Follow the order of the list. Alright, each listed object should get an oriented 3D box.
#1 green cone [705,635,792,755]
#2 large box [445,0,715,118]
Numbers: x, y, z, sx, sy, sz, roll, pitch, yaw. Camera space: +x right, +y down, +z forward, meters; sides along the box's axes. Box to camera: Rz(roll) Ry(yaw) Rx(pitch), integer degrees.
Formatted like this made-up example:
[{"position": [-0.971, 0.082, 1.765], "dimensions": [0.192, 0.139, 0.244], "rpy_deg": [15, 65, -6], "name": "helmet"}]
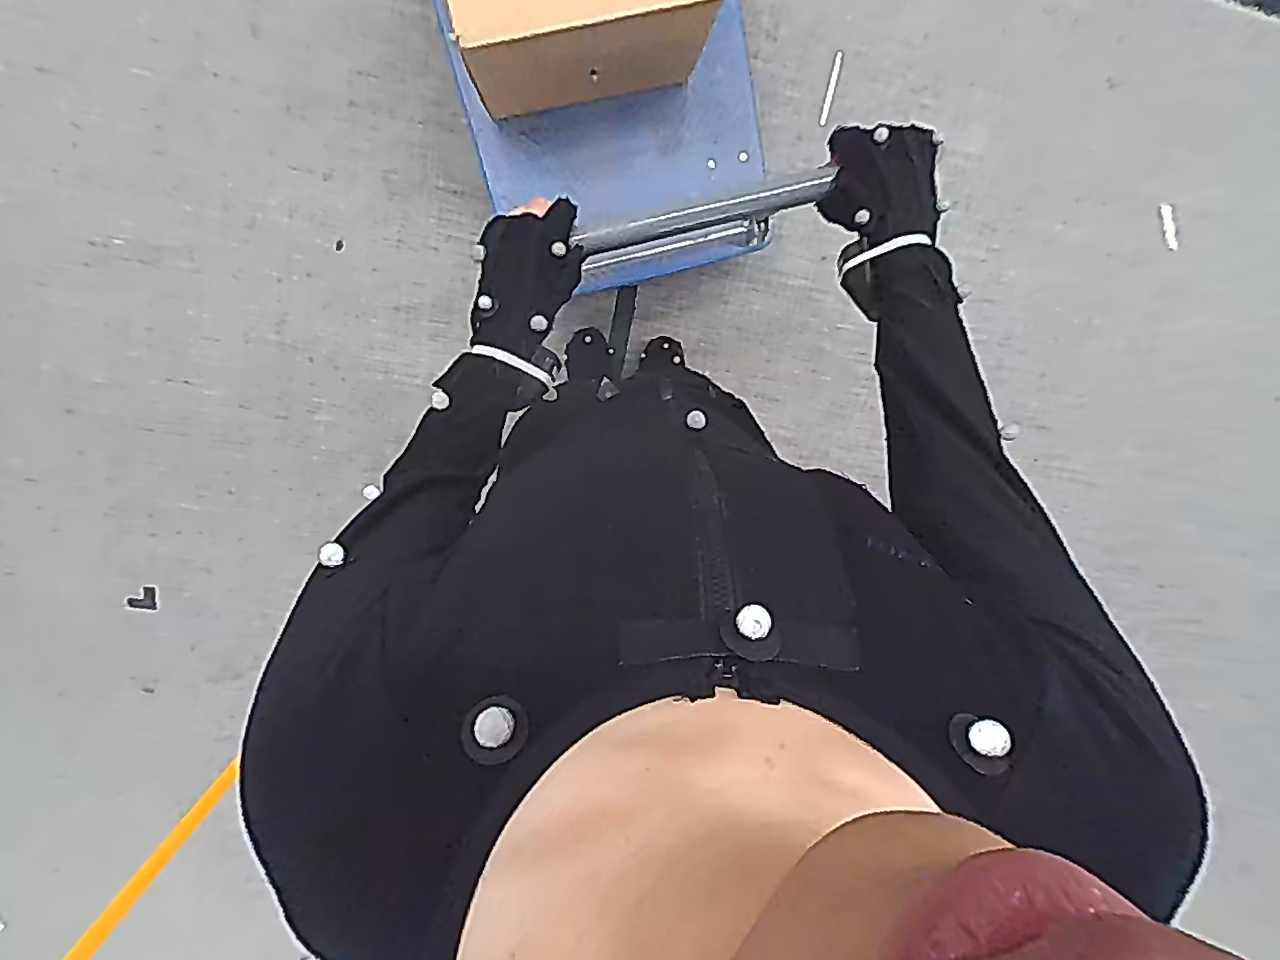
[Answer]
[{"position": [0.340, 0.636, 1.541], "dimensions": [0.202, 0.368, 0.200], "rpy_deg": [12, 104, -11], "name": "green cone"}, {"position": [-0.119, -0.864, 0.905], "dimensions": [0.408, 0.320, 0.320], "rpy_deg": [-13, 107, -1], "name": "large box"}]
